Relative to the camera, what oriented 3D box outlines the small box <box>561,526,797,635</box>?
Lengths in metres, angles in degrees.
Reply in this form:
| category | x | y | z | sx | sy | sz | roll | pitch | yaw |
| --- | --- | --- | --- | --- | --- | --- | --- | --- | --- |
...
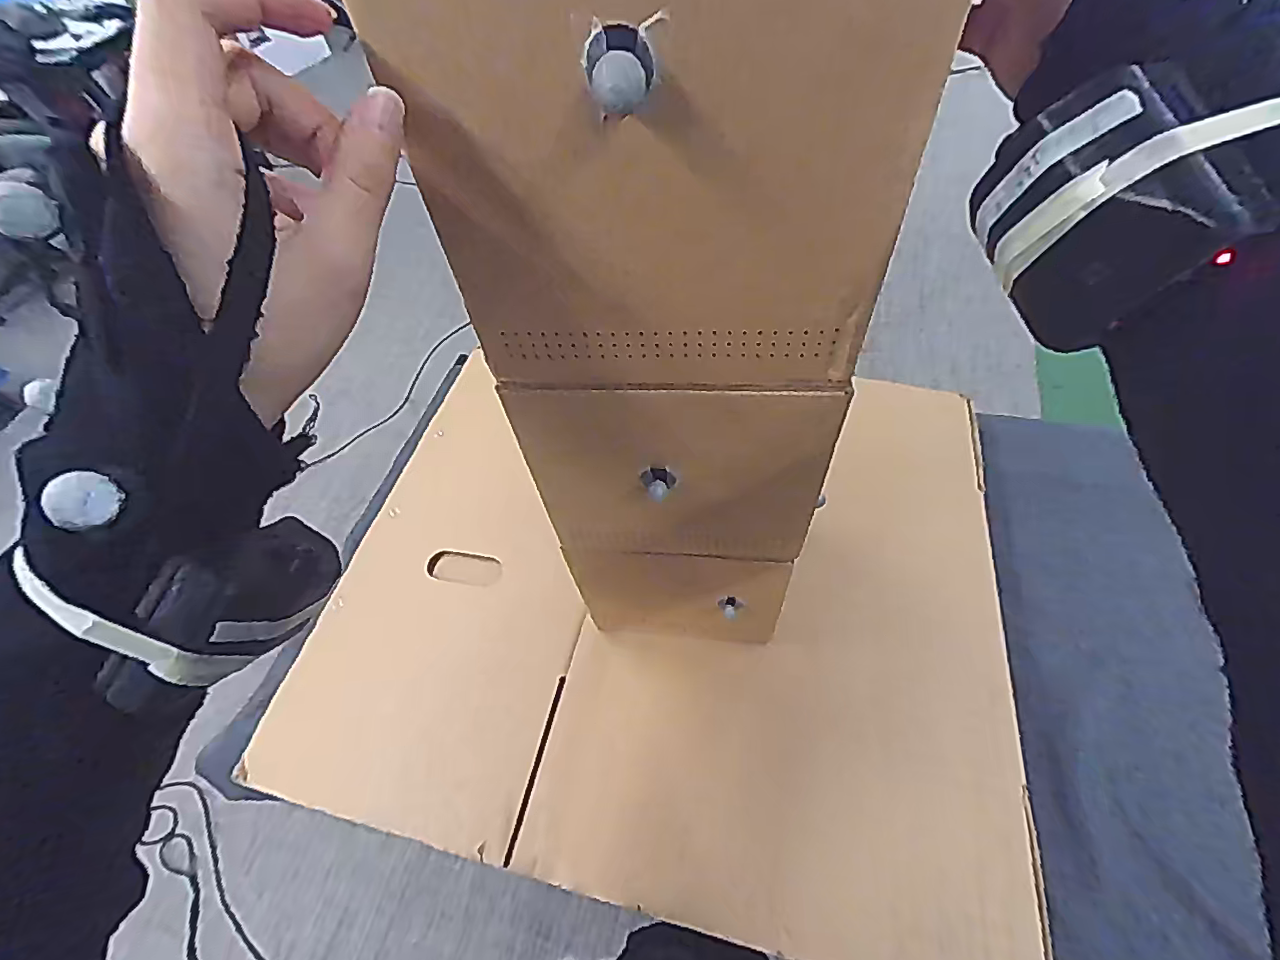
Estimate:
| category | x | y | z | sx | sy | sz | roll | pitch | yaw |
| --- | --- | --- | --- | --- | --- | --- | --- | --- | --- |
| small box | 0.042 | 0.035 | 0.504 | 0.179 | 0.176 | 0.168 | 2 | 54 | 8 |

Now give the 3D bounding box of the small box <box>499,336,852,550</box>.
| category | x | y | z | sx | sy | sz | roll | pitch | yaw |
| --- | --- | --- | --- | --- | --- | --- | --- | --- | --- |
| small box | 0.029 | -0.063 | 0.372 | 0.179 | 0.176 | 0.168 | 1 | 54 | 8 |

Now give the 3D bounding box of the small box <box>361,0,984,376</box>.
| category | x | y | z | sx | sy | sz | roll | pitch | yaw |
| --- | --- | --- | --- | --- | --- | --- | --- | --- | --- |
| small box | 0.017 | -0.161 | 0.244 | 0.179 | 0.176 | 0.168 | 1 | 54 | 7 |
